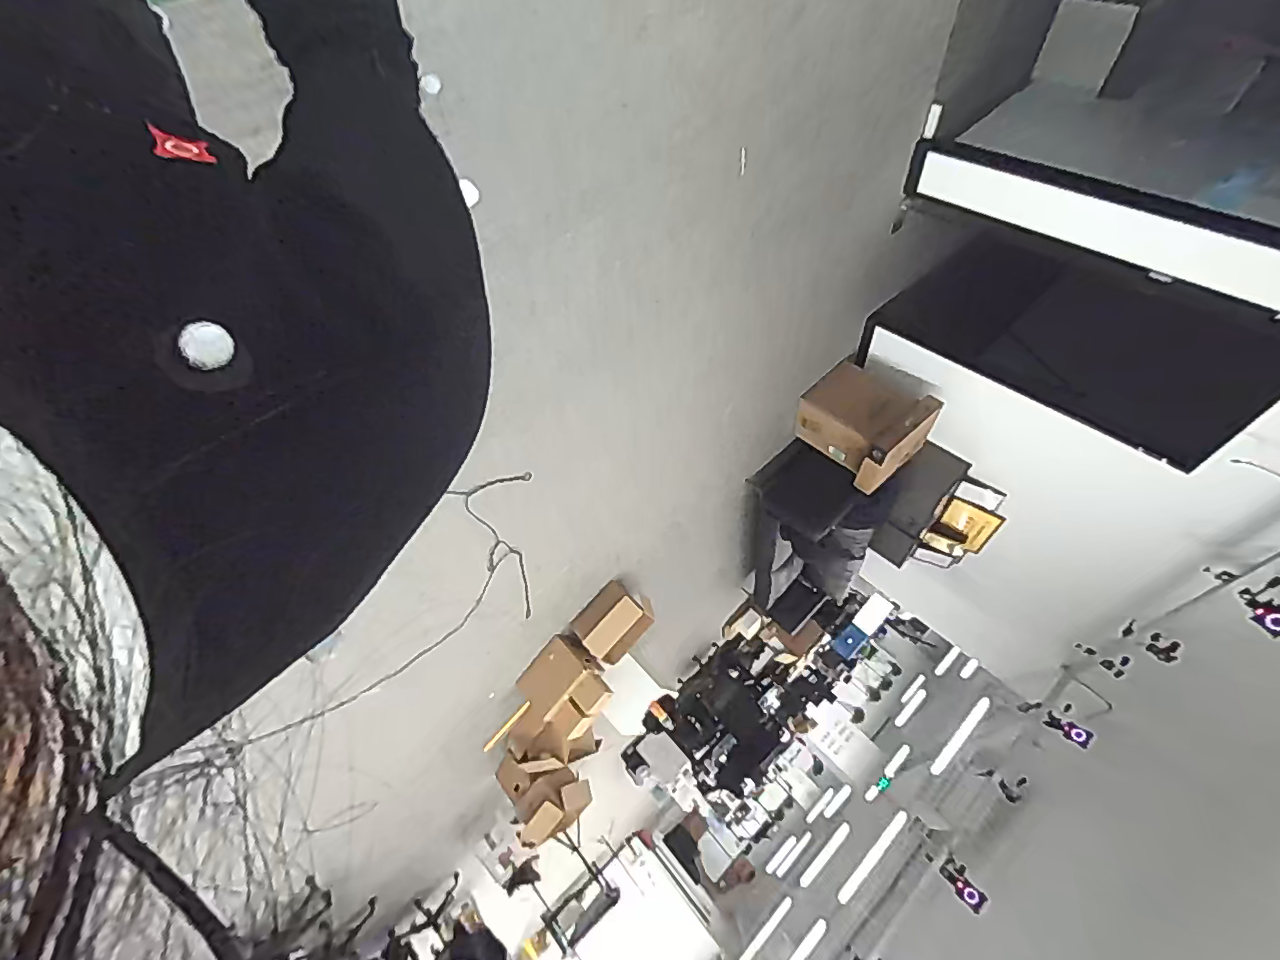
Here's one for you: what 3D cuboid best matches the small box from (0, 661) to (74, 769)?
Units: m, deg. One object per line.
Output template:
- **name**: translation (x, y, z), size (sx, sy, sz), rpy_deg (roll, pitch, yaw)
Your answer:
- **small box**: translation (-1.589, 0.579, 1.341), size (0.179, 0.176, 0.168), rpy_deg (-42, 151, -14)
